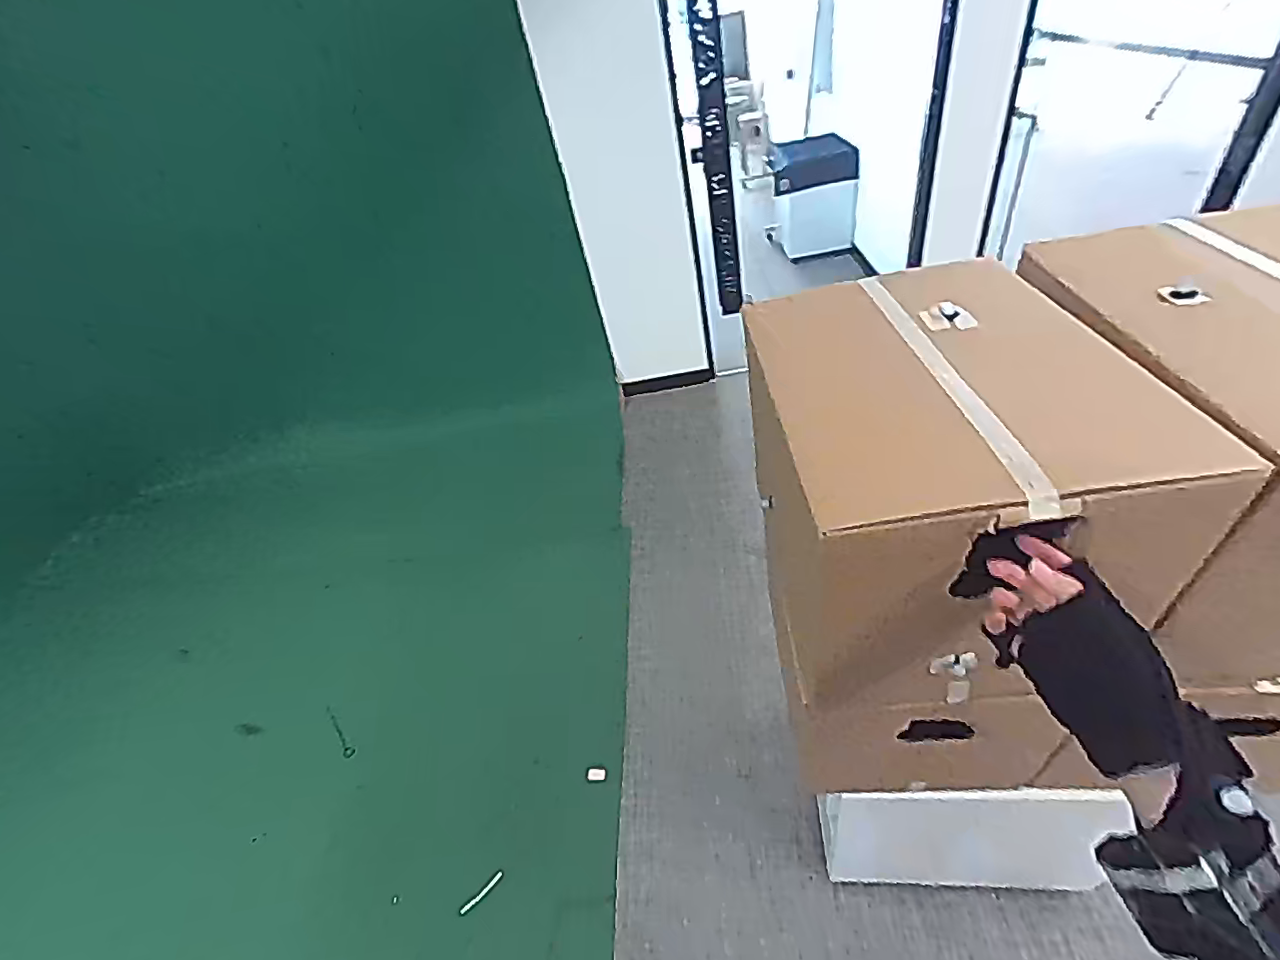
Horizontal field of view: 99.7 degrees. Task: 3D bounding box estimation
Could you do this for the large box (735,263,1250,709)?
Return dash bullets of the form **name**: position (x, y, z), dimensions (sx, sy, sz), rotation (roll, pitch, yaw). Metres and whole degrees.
- **large box**: position (0.310, -0.005, 0.638), dimensions (0.320, 0.320, 0.408), rotation (-9, 40, 7)
